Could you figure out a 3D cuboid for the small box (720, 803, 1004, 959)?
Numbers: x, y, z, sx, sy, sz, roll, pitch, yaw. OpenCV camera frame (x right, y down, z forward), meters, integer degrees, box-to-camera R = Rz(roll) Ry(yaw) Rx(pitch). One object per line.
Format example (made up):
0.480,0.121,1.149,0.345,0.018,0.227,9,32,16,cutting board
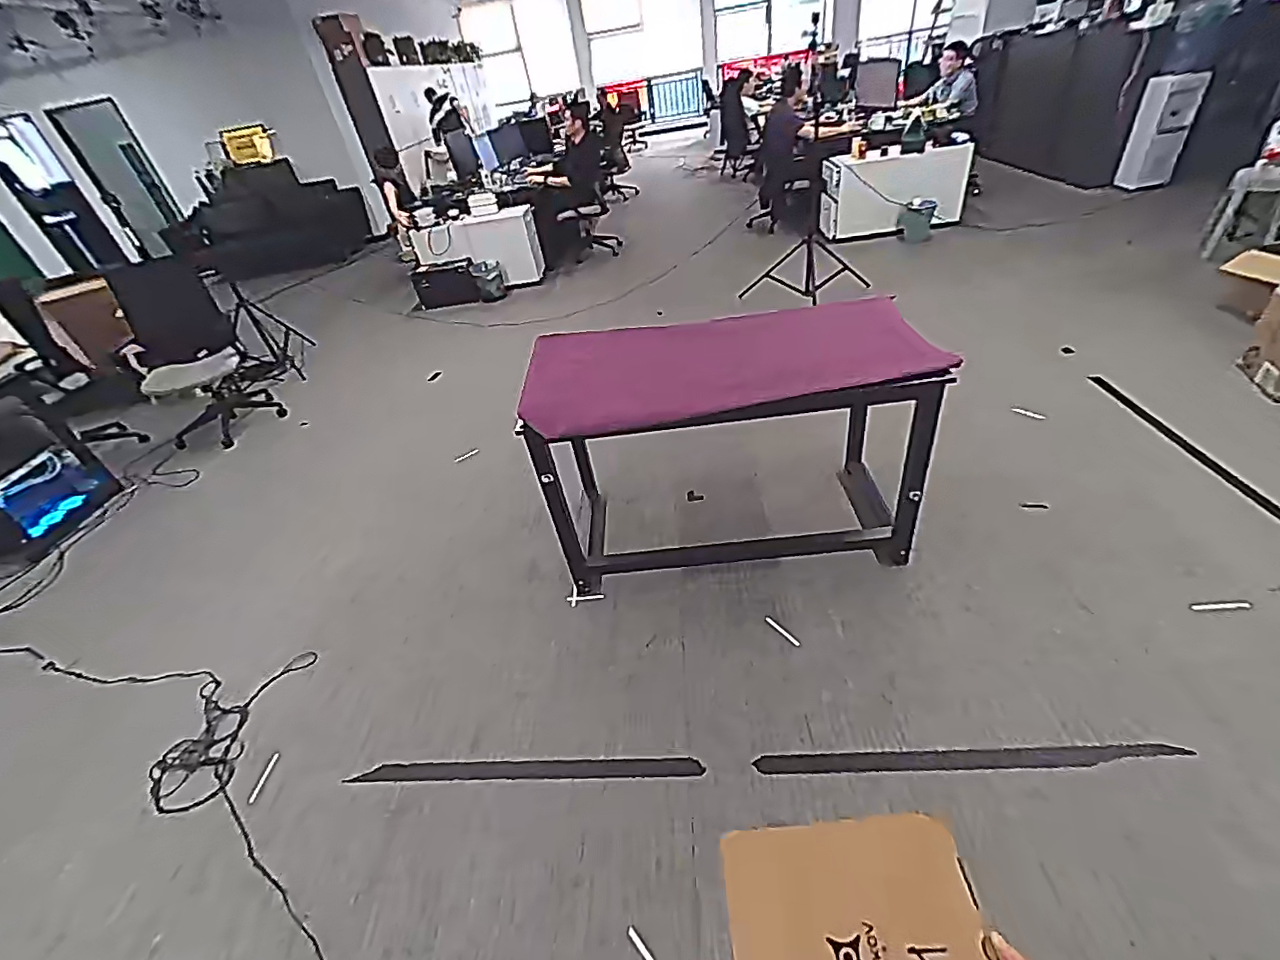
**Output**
0.168,0.375,0.420,0.179,0.176,0.168,-10,43,7,small box
